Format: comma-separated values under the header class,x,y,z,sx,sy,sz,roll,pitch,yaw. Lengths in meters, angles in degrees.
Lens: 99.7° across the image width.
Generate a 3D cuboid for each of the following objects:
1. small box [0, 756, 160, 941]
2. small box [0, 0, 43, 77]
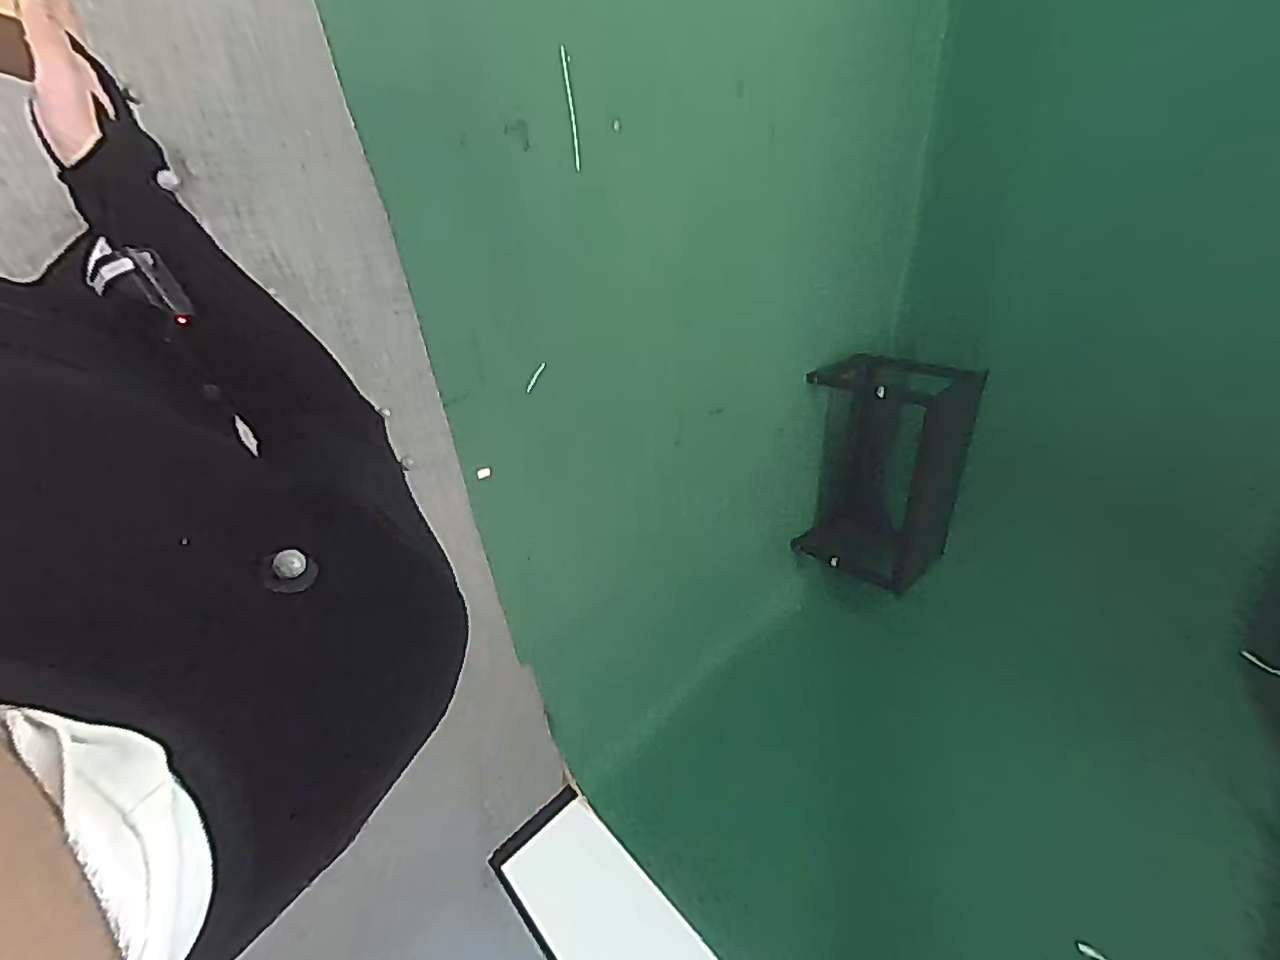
class,x,y,z,sx,sy,sz,roll,pitch,yaw
small box,-0.993,0.644,0.967,0.168,0.176,0.179,-18,120,-40
small box,-0.507,-0.403,0.340,0.168,0.176,0.179,-6,108,-45
